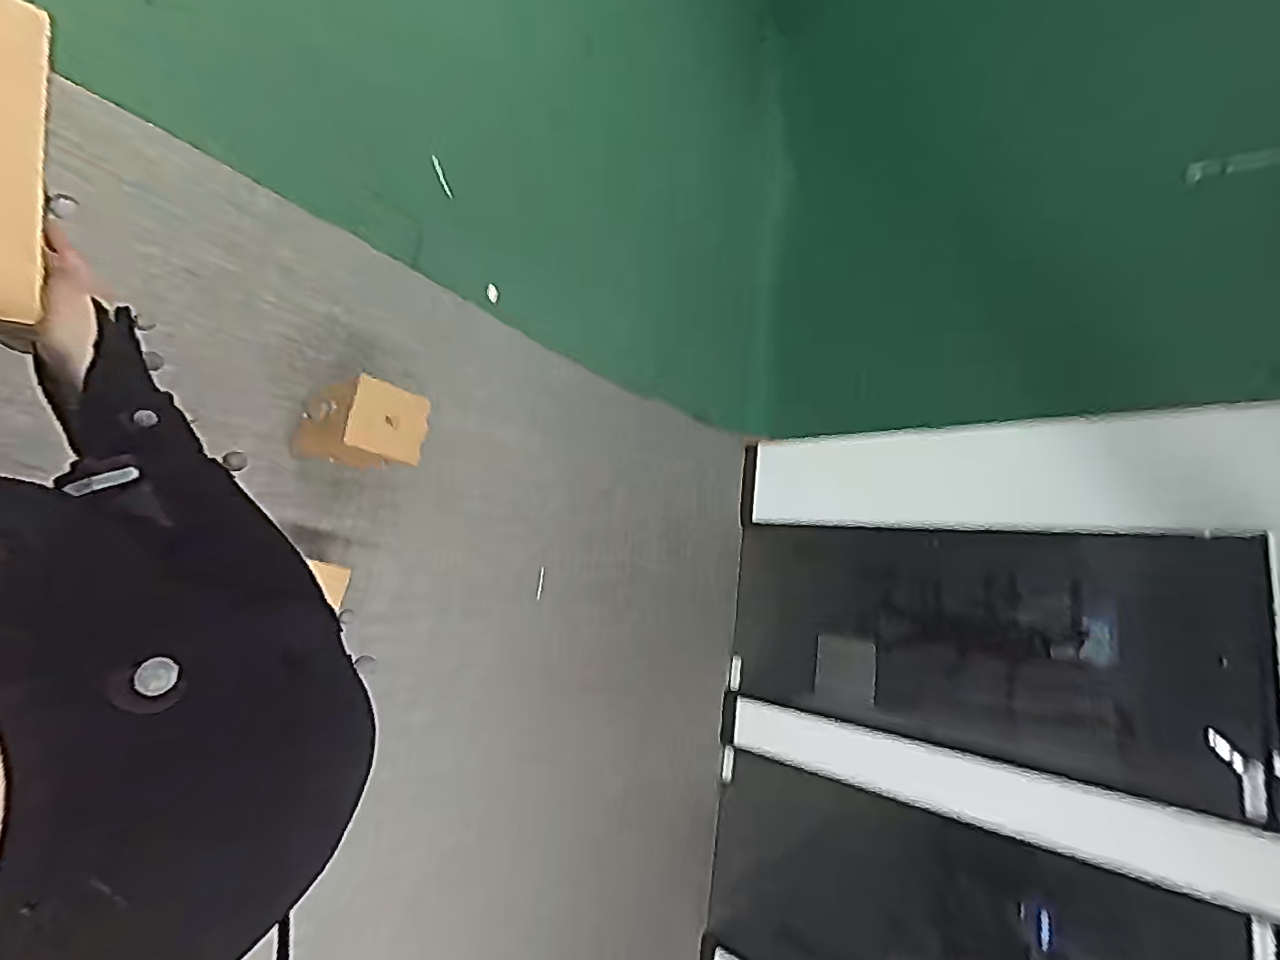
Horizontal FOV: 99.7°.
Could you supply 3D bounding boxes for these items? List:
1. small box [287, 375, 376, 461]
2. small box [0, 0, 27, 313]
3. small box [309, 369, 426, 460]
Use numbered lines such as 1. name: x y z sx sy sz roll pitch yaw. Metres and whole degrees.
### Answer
1. small box: -0.777 -0.151 1.402 0.179 0.176 0.168 27 70 -47
2. small box: -0.467 -0.198 0.295 0.168 0.176 0.179 -1 102 -51
3. small box: -0.652 -0.149 1.297 0.179 0.176 0.168 22 72 -48
